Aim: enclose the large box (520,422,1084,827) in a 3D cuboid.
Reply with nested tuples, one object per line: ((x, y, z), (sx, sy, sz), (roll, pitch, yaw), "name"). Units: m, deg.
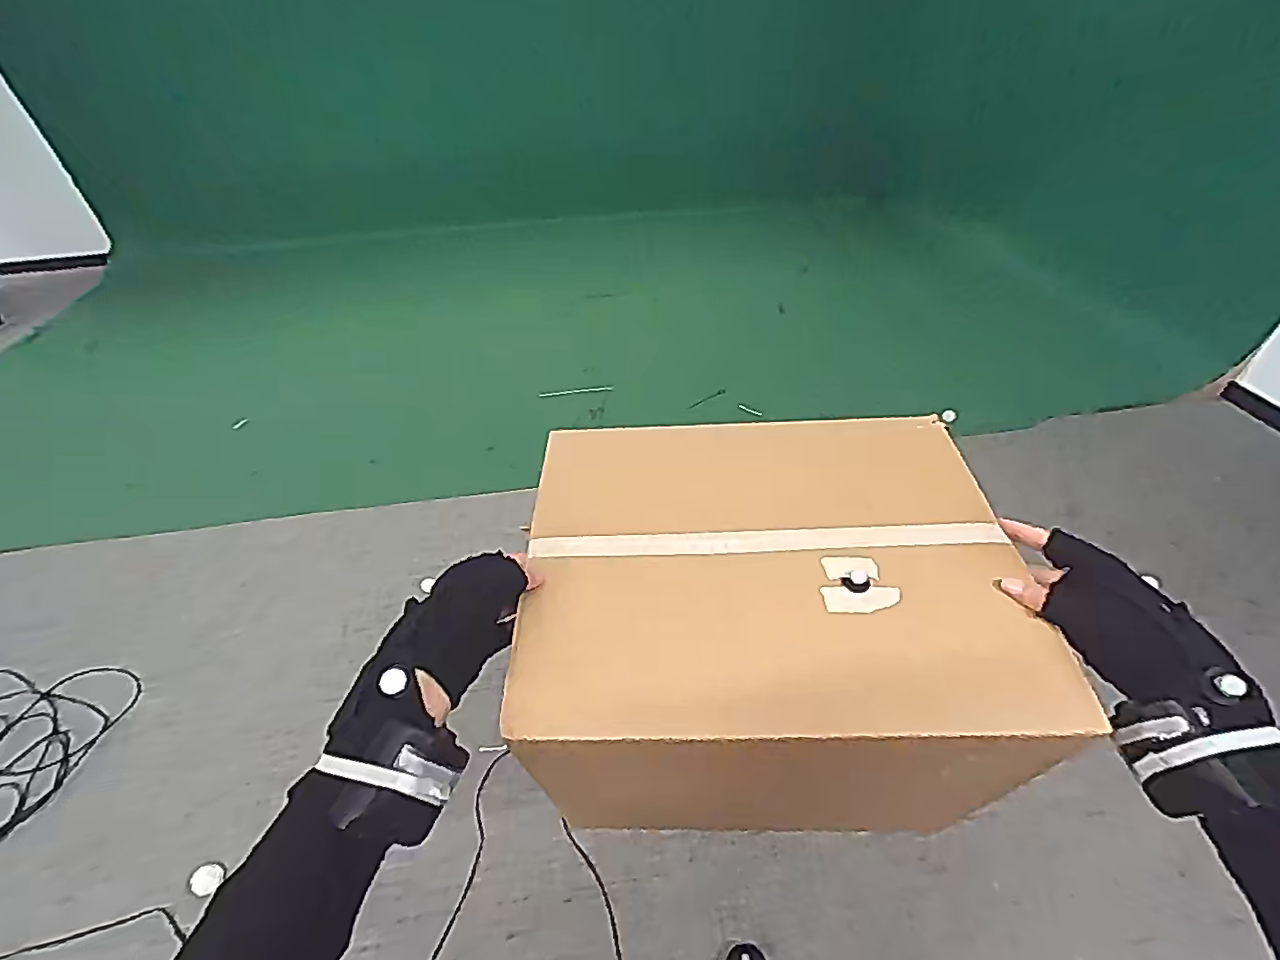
((0.117, 0.162, 0.586), (0.408, 0.320, 0.320), (-3, 48, 3), "large box")
